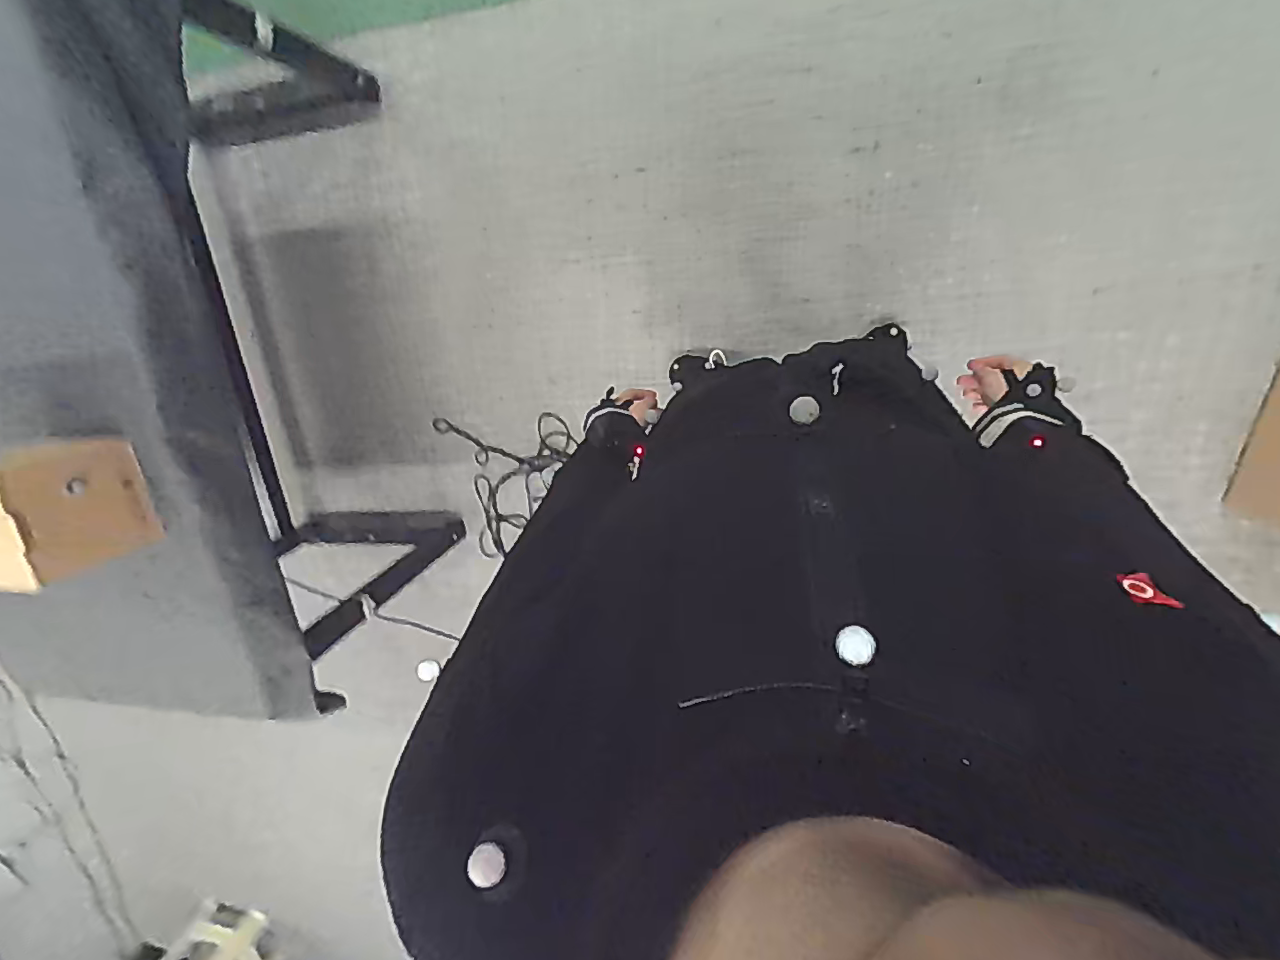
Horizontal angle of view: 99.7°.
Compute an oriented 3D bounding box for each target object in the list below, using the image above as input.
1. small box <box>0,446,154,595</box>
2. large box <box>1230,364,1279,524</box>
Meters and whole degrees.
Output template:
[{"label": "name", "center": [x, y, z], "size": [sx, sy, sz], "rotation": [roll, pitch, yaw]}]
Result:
[{"label": "small box", "center": [-0.852, 0.049, 0.773], "size": [0.179, 0.176, 0.168], "rotation": [0, 107, 14]}, {"label": "large box", "center": [1.384, -0.083, 0.937], "size": [0.320, 0.320, 0.408], "rotation": [4, 111, 12]}]
